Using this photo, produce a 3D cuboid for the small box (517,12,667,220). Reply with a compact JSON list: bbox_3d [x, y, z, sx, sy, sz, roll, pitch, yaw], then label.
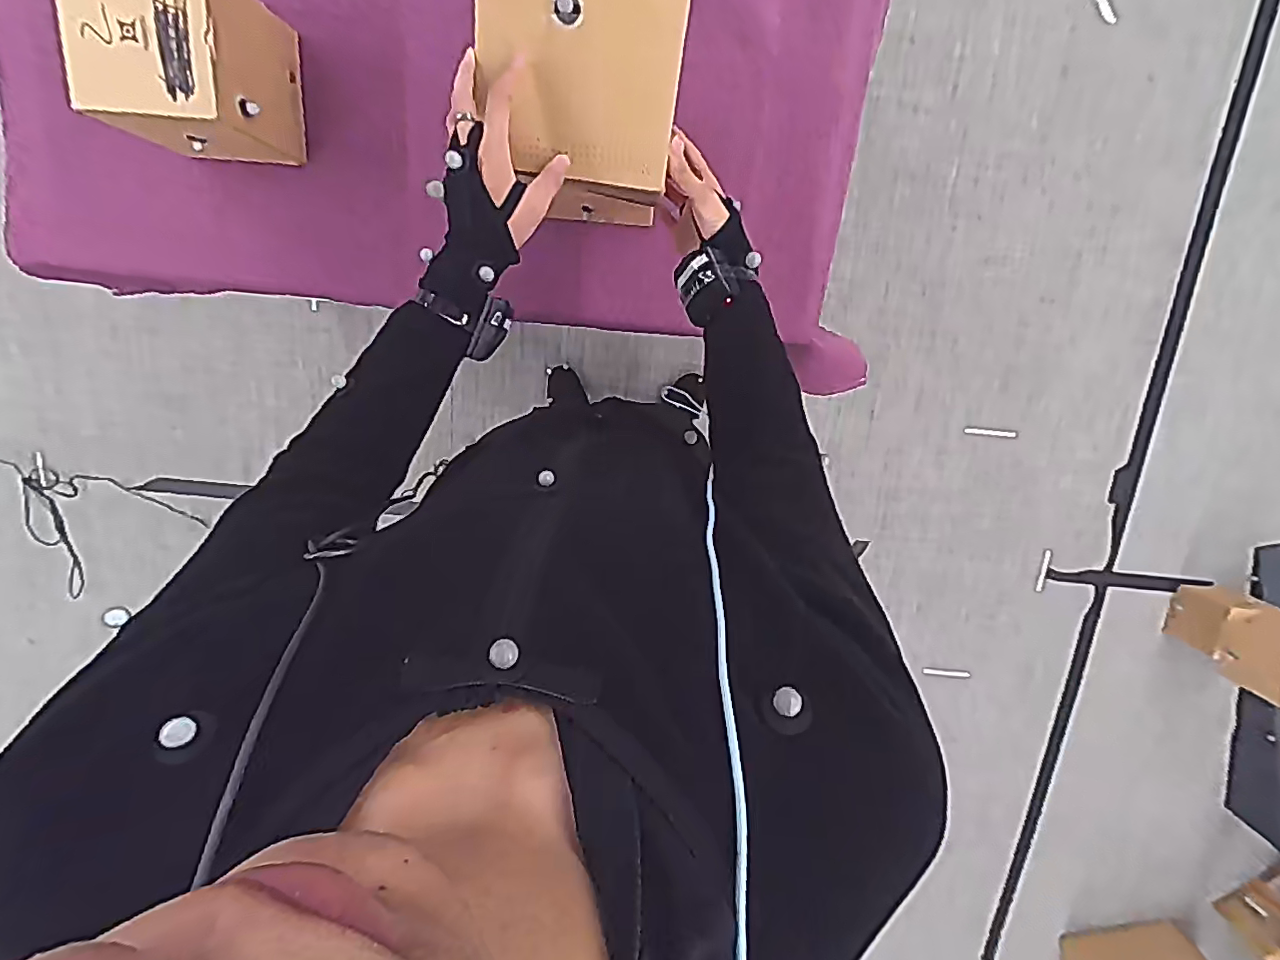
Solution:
[{"bbox_3d":[-0.056,-0.451,0.702,0.168,0.176,0.179,5,104,-1],"label":"small box"}]
